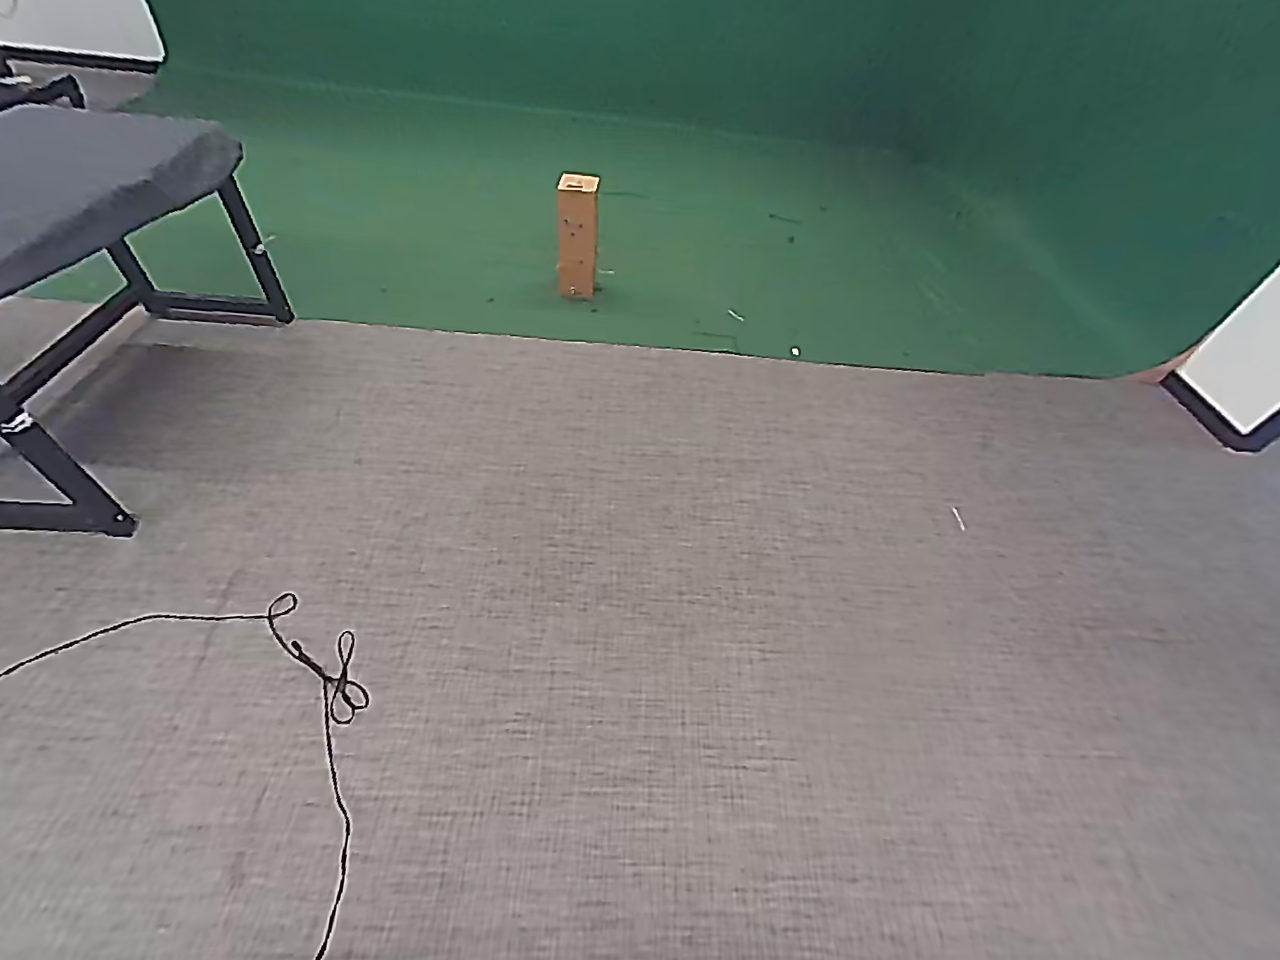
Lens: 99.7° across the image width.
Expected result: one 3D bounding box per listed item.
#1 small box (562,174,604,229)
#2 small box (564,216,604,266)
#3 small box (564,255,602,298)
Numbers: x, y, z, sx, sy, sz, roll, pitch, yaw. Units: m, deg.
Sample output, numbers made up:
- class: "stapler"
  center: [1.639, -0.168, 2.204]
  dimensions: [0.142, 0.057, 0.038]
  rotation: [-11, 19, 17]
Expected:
- class: "small box"
  center: [-0.255, -1.254, 2.437]
  dimensions: [0.168, 0.176, 0.179]
  rotation: [6, 47, -1]
- class: "small box"
  center: [-0.265, -1.141, 2.556]
  dimensions: [0.168, 0.176, 0.179]
  rotation: [5, 48, -1]
- class: "small box"
  center: [-0.282, -1.030, 2.676]
  dimensions: [0.168, 0.176, 0.179]
  rotation: [5, 50, -2]
